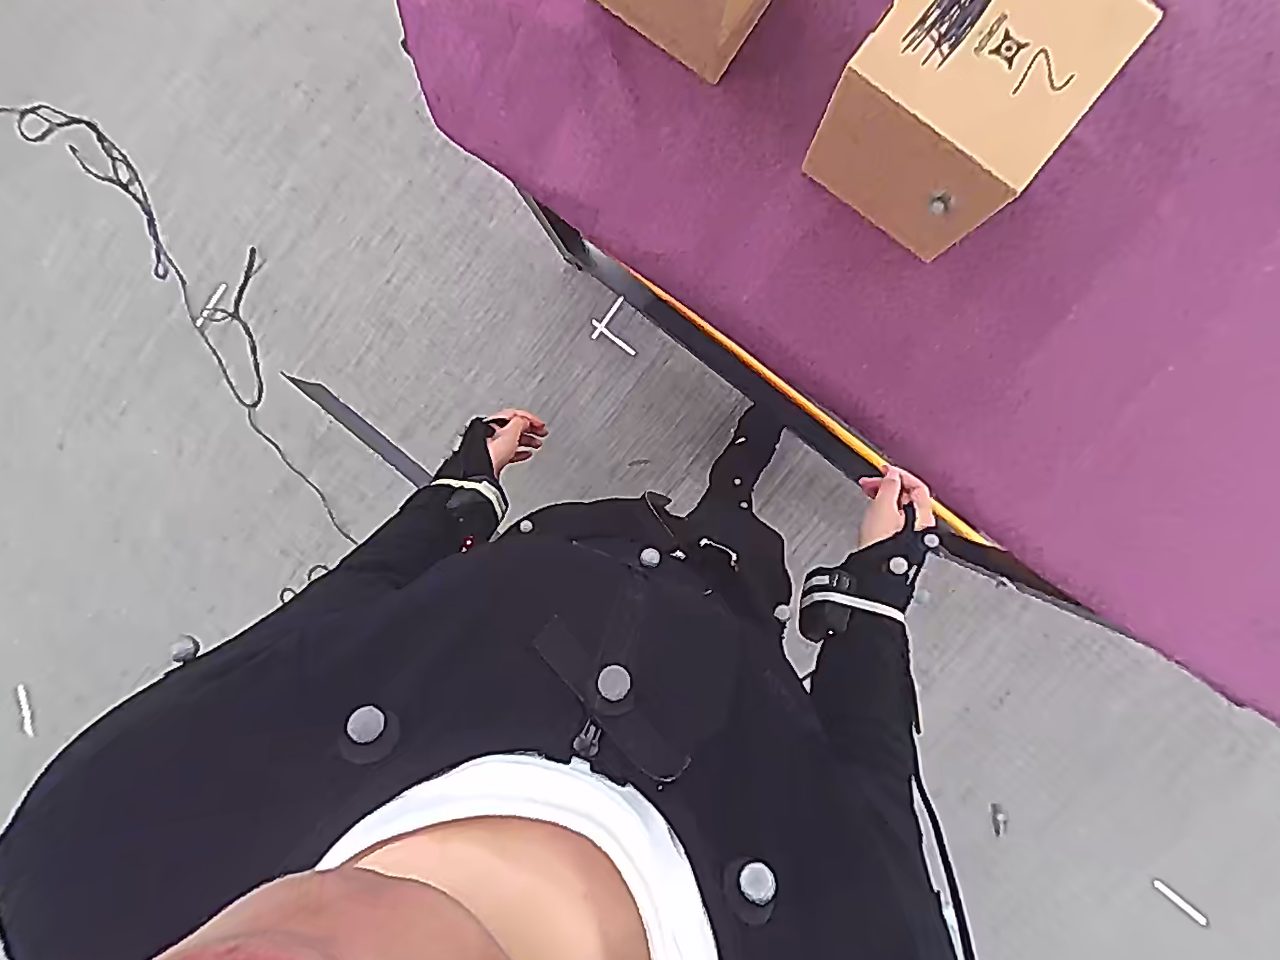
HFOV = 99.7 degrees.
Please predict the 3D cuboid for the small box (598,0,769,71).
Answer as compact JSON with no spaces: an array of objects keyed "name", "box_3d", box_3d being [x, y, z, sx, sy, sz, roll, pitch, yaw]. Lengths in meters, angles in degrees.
[{"name":"small box","box_3d":[0.057,-0.545,0.514,0.179,0.176,0.168,36,95,0]}]
